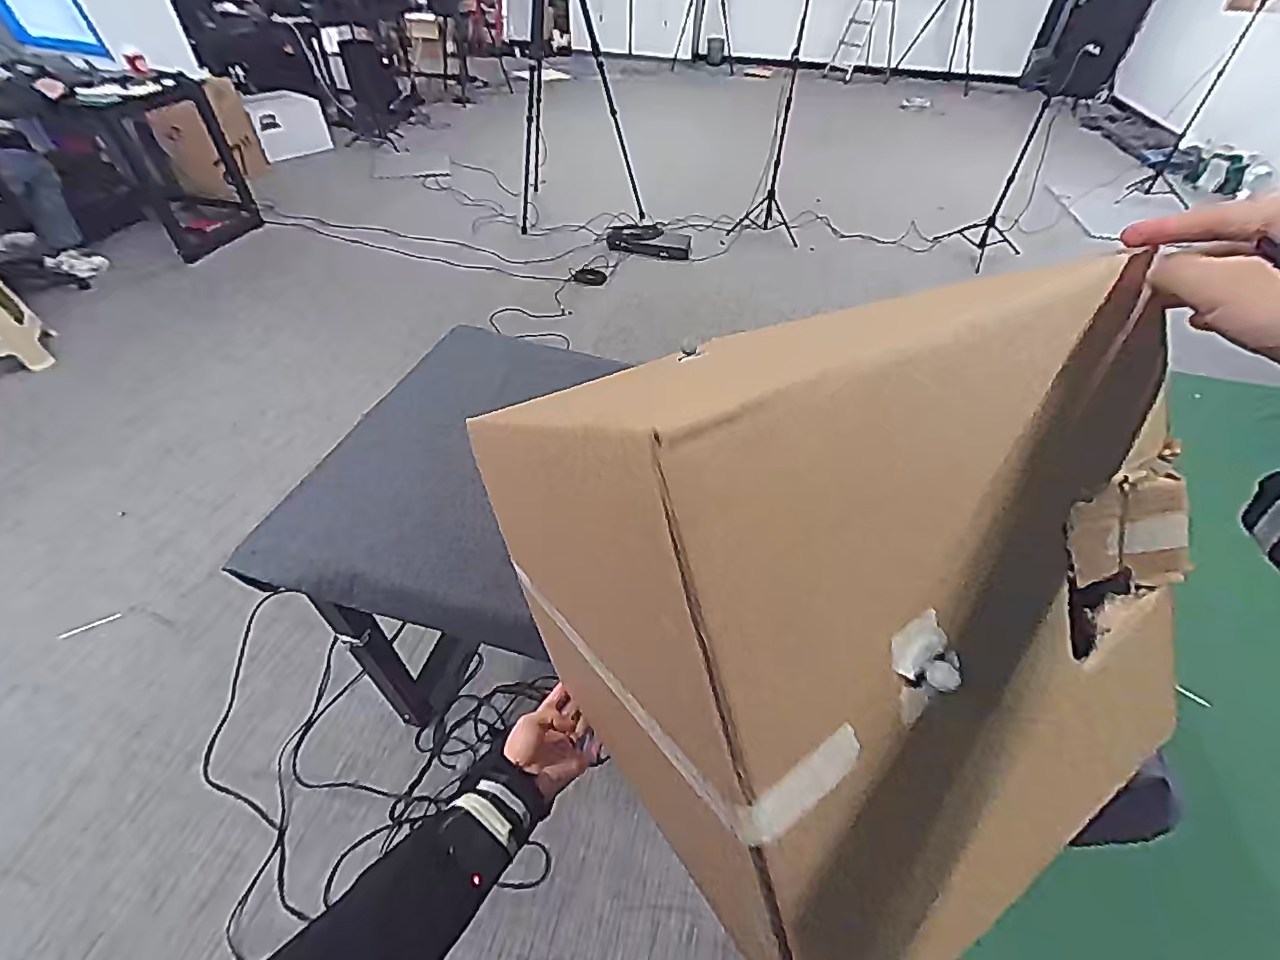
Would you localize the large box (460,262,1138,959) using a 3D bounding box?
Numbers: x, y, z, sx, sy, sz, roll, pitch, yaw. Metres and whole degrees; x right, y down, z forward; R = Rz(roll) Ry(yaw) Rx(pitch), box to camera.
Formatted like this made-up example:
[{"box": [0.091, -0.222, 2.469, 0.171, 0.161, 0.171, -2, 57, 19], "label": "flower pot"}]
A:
[{"box": [0.086, 0.052, 0.443, 0.320, 0.320, 0.408, -23, 17, -23], "label": "large box"}]
